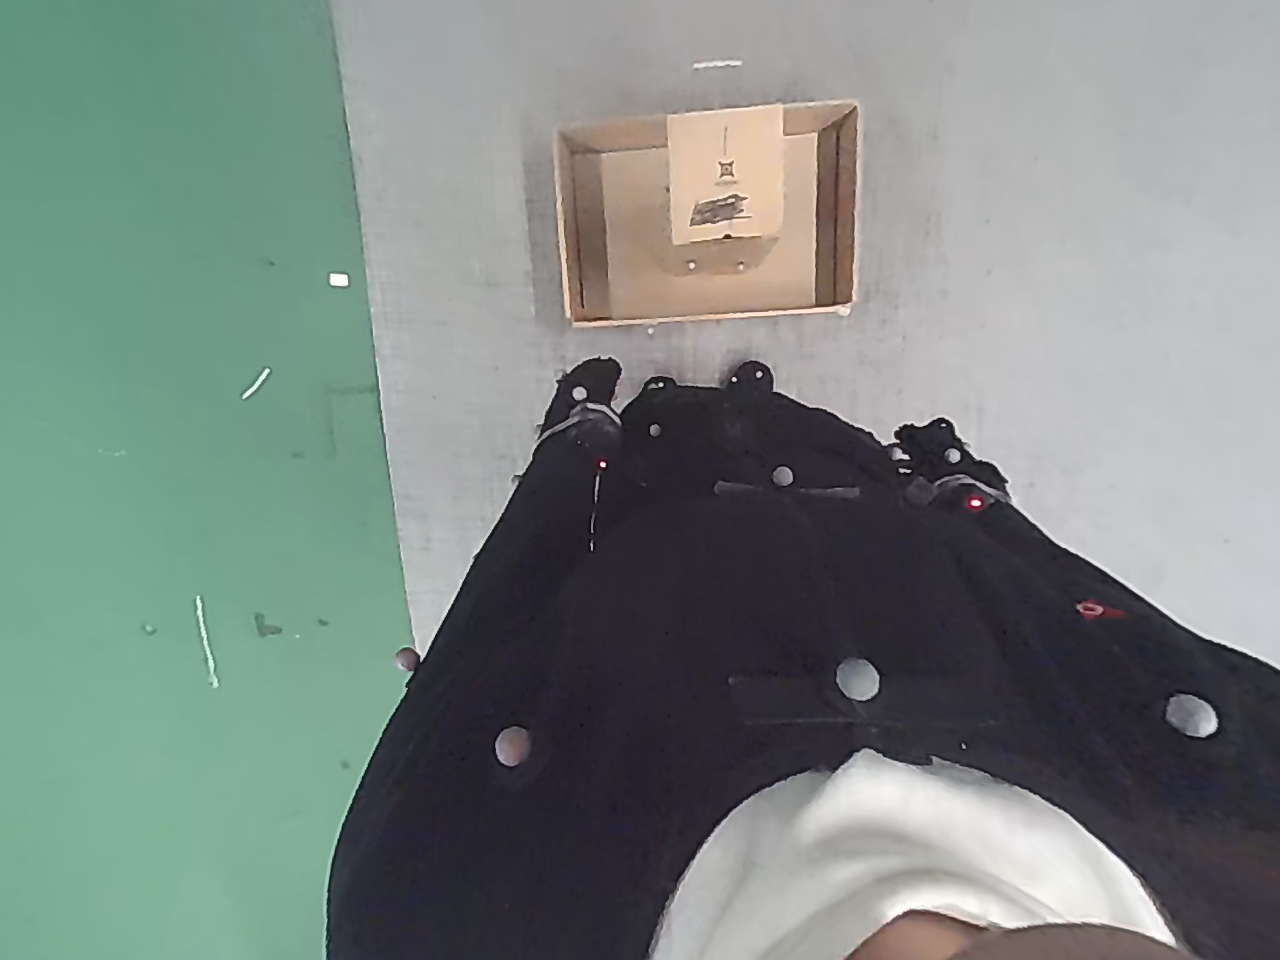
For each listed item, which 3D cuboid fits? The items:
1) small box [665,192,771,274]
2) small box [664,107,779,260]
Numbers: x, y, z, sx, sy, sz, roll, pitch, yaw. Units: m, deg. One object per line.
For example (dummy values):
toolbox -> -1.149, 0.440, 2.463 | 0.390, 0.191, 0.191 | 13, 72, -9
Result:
small box -> 0.140, -0.490, 1.009 | 0.179, 0.176, 0.168 | -5, 102, 5
small box -> 0.125, -0.458, 0.865 | 0.168, 0.176, 0.179 | -2, 101, 5
